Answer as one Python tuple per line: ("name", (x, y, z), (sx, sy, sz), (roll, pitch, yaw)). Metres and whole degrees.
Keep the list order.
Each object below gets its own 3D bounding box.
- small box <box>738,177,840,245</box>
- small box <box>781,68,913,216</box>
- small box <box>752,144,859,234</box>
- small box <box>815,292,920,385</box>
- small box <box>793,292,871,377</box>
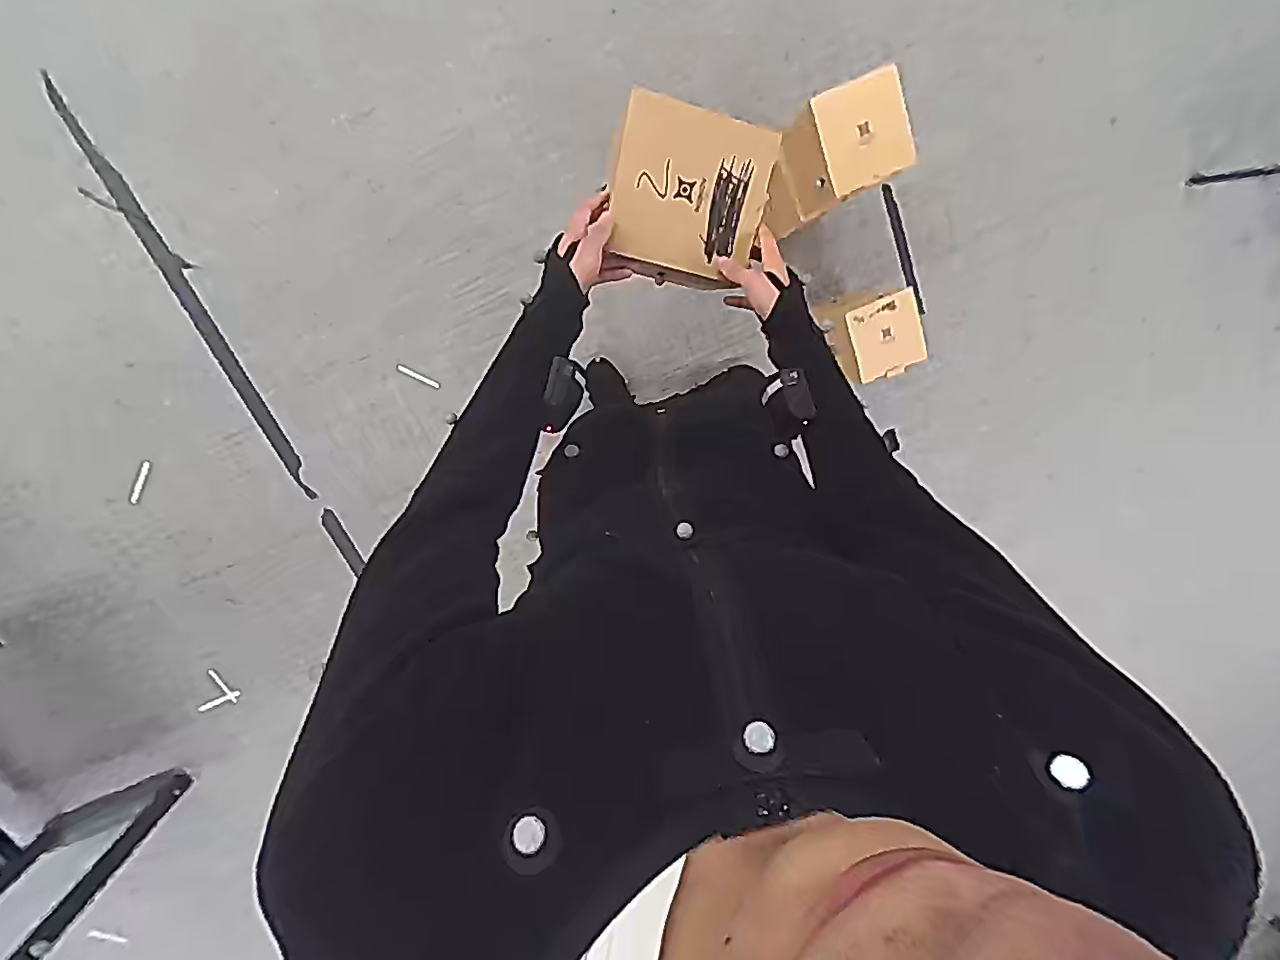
("small box", (0.375, -0.725, 1.381), (0.179, 0.176, 0.168), (-28, 107, 4))
("small box", (0.398, -0.651, 1.064), (0.168, 0.176, 0.179), (-22, 107, 2))
("small box", (0.380, -0.683, 1.223), (0.179, 0.176, 0.168), (-27, 106, 4))
("small box", (0.557, -0.354, 1.336), (0.168, 0.176, 0.179), (-21, 109, 2))
("small box", (0.543, -0.402, 1.493), (0.168, 0.176, 0.179), (-22, 108, 3))
